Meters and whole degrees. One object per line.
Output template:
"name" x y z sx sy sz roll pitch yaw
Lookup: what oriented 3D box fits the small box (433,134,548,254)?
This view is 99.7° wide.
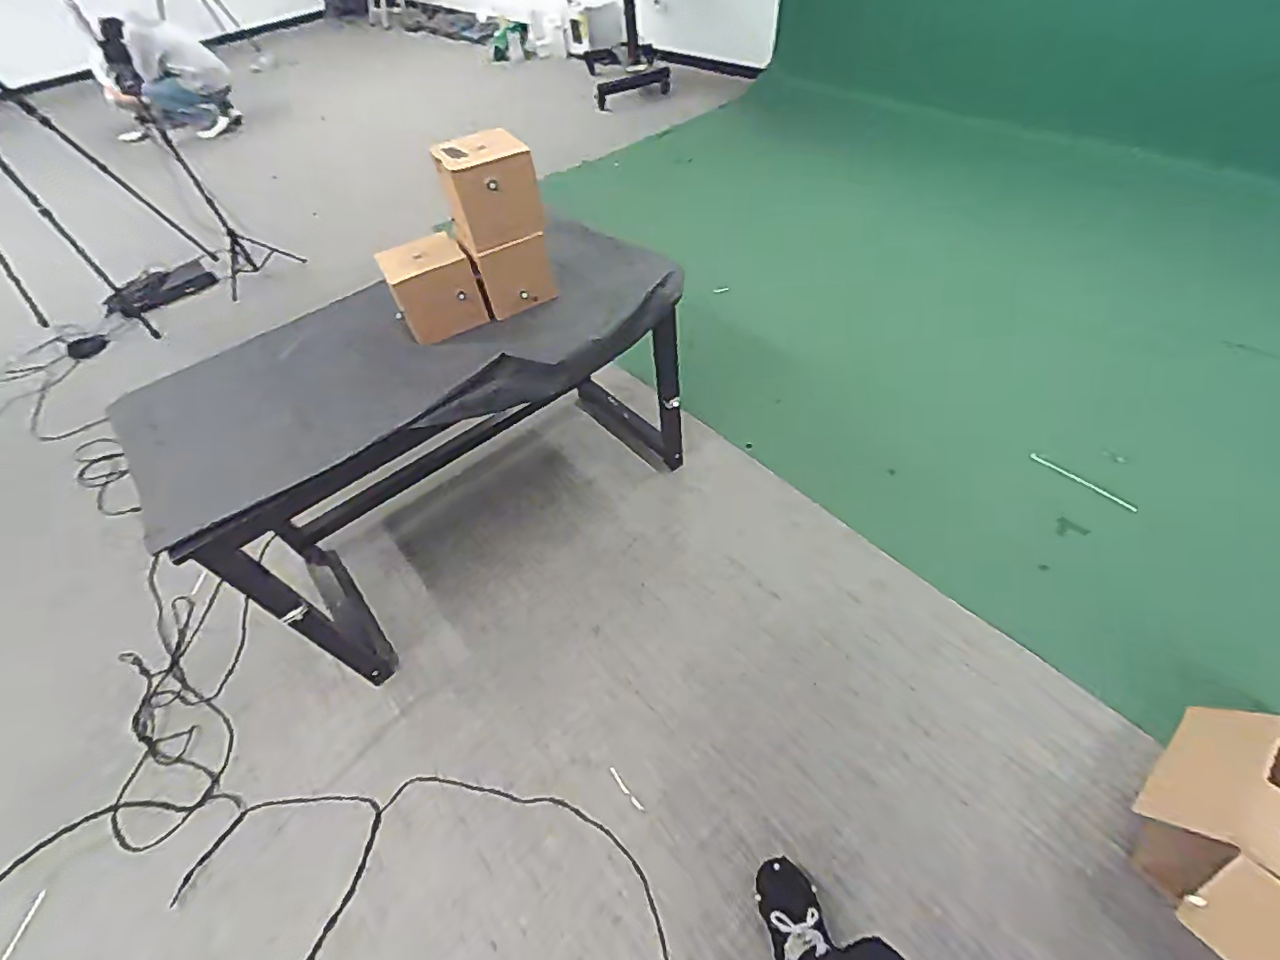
"small box" -0.326 -0.630 1.198 0.179 0.176 0.168 -27 54 -15
